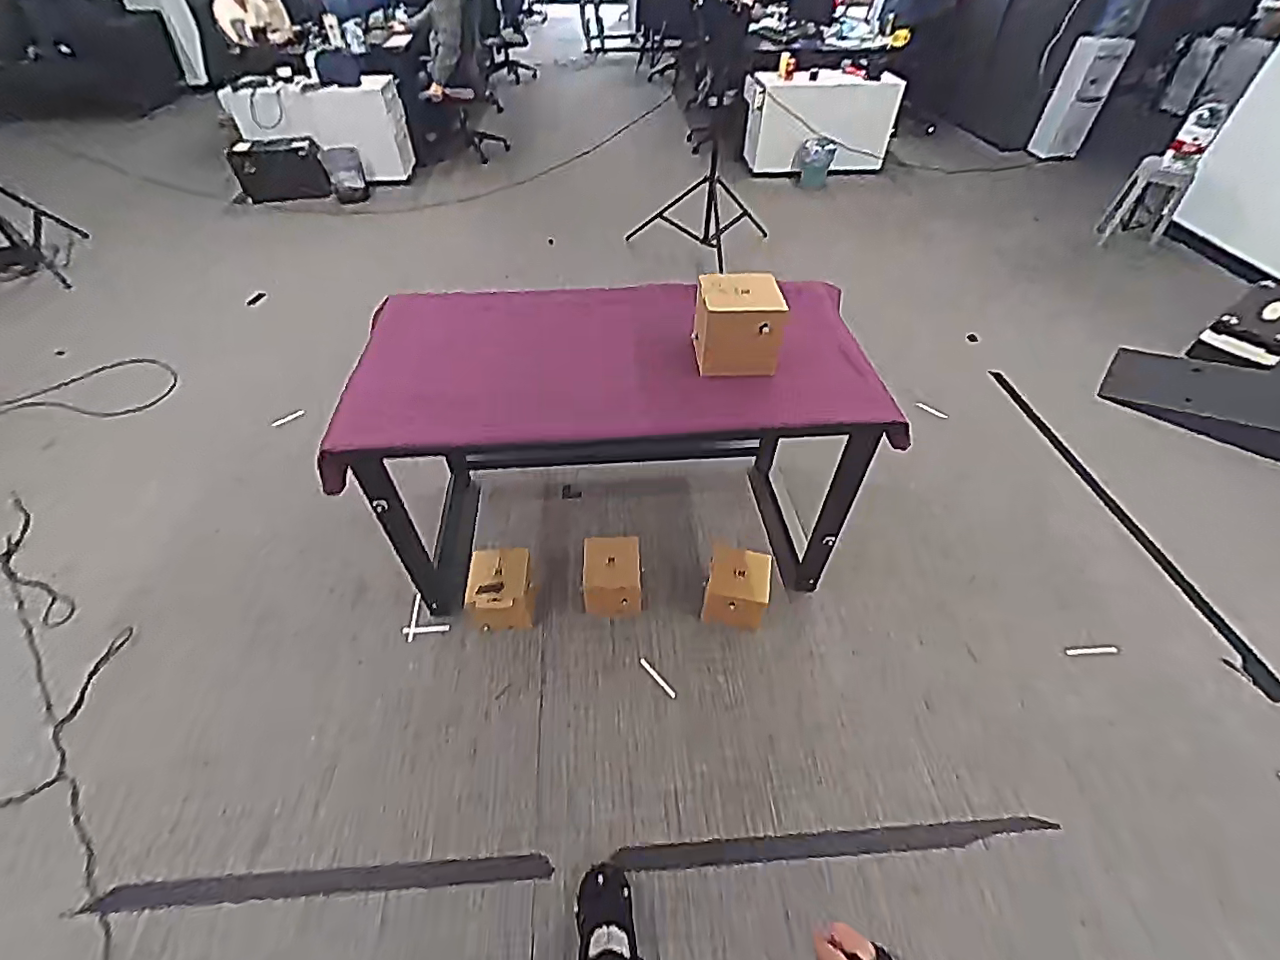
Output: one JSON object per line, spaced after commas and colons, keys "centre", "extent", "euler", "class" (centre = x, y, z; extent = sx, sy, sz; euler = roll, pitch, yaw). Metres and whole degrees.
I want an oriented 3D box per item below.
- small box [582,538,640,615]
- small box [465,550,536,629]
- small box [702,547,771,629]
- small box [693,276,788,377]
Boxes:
{"centre": [-0.085, 0.298, 1.639], "extent": [0.168, 0.176, 0.179], "euler": [-1, 46, -3], "class": "small box"}
{"centre": [-0.405, 0.331, 1.603], "extent": [0.168, 0.176, 0.179], "euler": [-2, 46, -3], "class": "small box"}
{"centre": [0.287, 0.326, 1.616], "extent": [0.179, 0.176, 0.168], "euler": [8, 48, 9], "class": "small box"}
{"centre": [0.223, -0.352, 1.247], "extent": [0.179, 0.176, 0.168], "euler": [-2, 46, -2], "class": "small box"}
